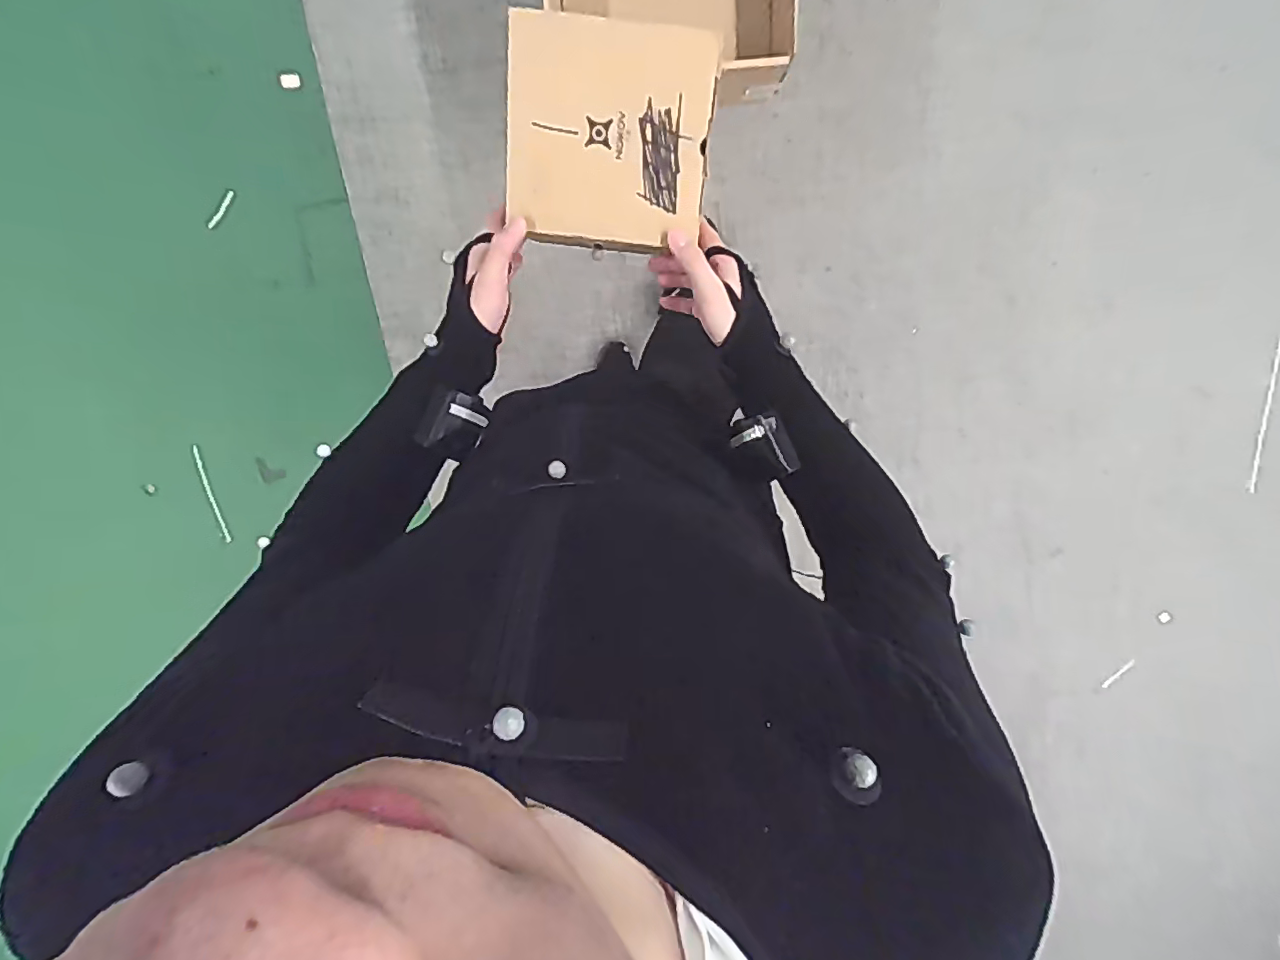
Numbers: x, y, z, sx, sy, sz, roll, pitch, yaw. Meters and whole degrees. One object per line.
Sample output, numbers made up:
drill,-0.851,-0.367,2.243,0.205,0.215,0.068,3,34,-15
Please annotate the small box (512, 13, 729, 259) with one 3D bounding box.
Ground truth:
small box,-0.022,-0.318,0.538,0.179,0.176,0.168,5,110,-2
